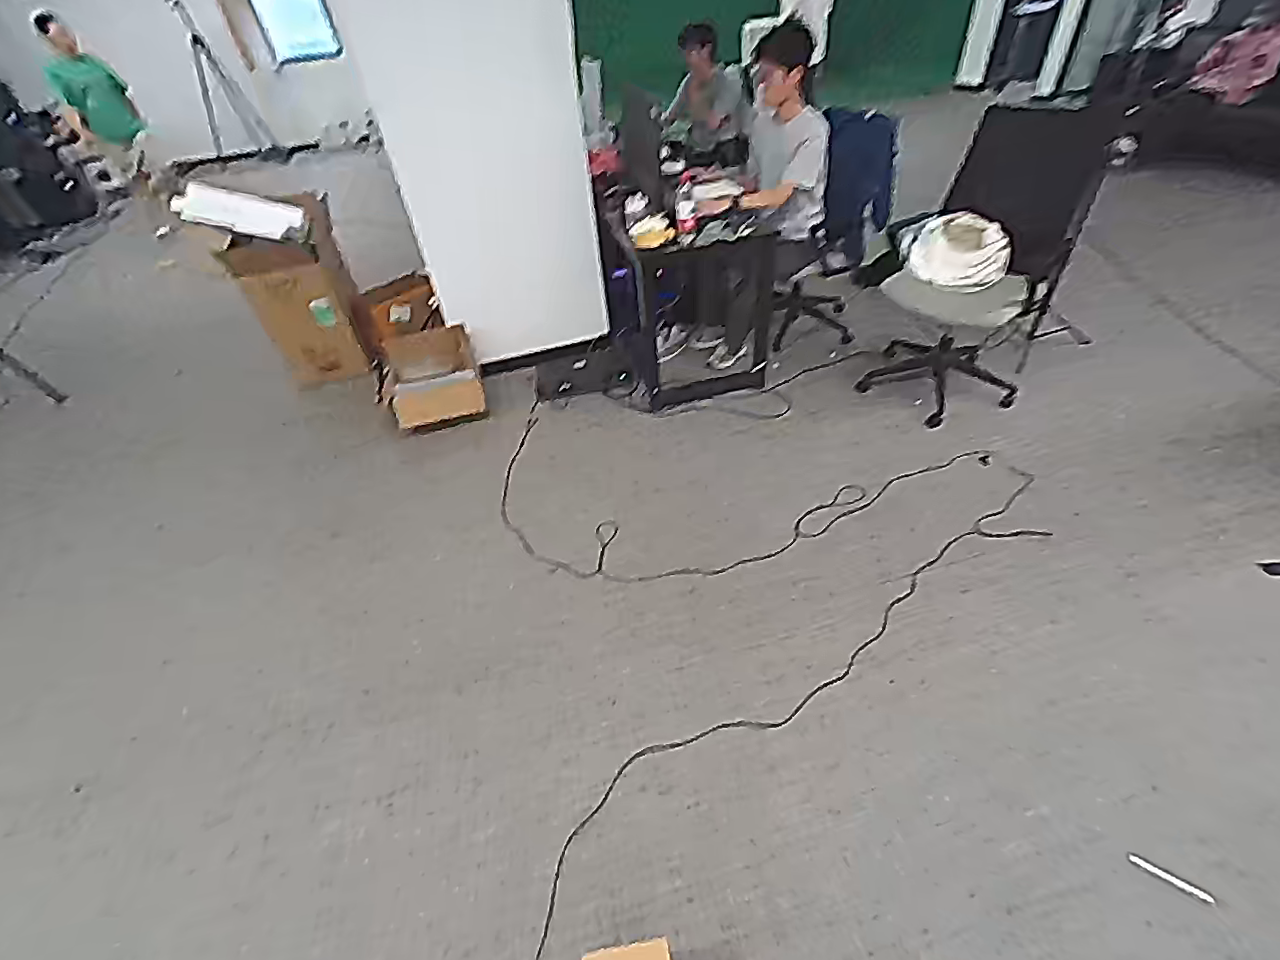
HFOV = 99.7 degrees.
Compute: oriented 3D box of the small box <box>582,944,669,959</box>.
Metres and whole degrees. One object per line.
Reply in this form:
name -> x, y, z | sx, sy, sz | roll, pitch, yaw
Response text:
small box -> -0.012, 0.996, 1.000 | 0.168, 0.176, 0.179 | -8, 42, -3
